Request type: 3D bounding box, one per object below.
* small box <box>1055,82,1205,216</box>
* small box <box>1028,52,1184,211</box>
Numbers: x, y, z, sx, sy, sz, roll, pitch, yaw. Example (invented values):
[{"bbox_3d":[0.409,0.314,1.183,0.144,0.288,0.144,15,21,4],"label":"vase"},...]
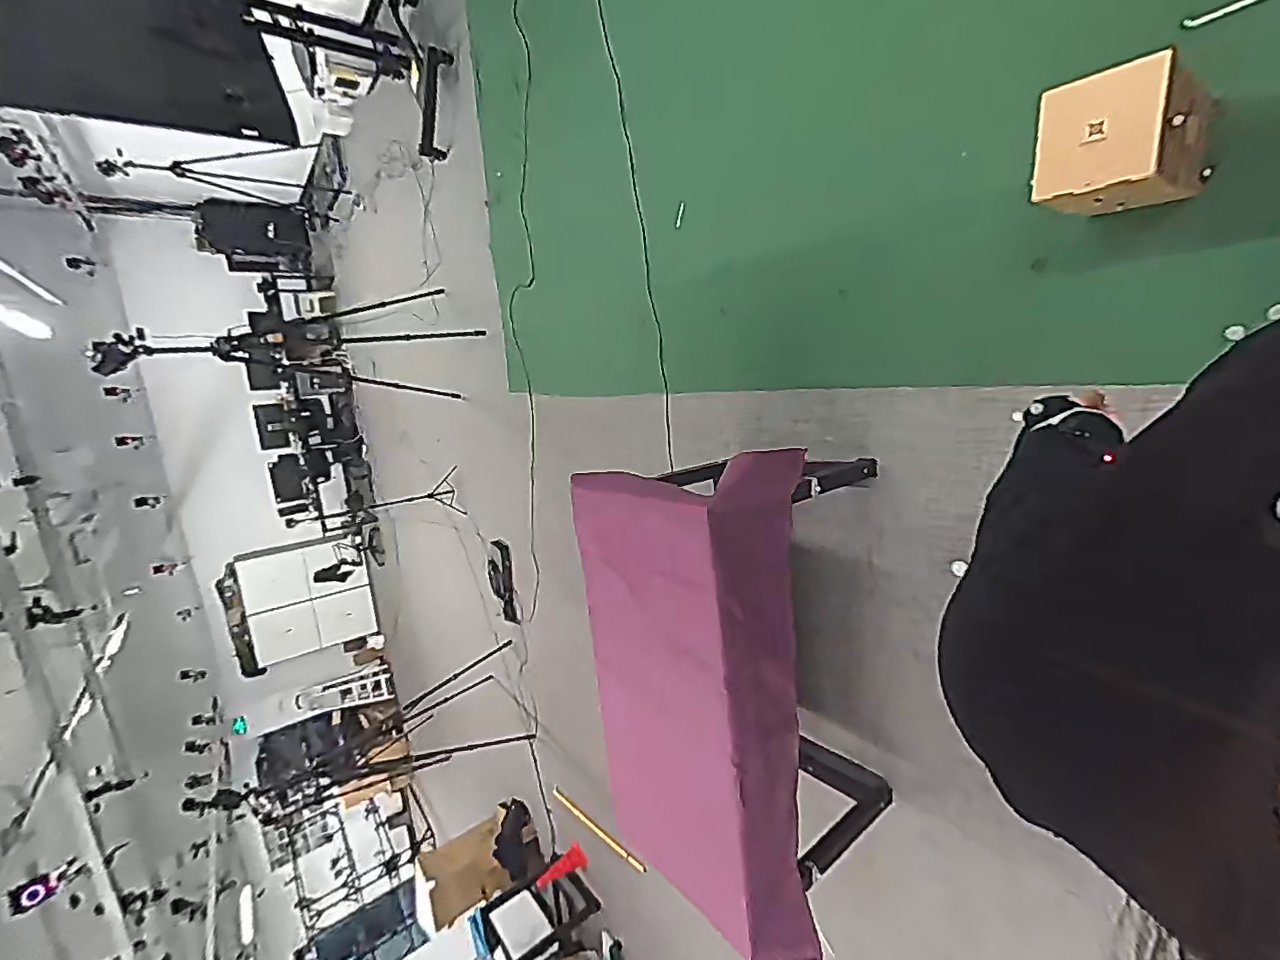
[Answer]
[{"bbox_3d":[0.936,-0.618,1.033,0.179,0.176,0.168,13,111,52],"label":"small box"},{"bbox_3d":[0.808,-0.586,0.938,0.168,0.176,0.179,13,111,52],"label":"small box"}]
